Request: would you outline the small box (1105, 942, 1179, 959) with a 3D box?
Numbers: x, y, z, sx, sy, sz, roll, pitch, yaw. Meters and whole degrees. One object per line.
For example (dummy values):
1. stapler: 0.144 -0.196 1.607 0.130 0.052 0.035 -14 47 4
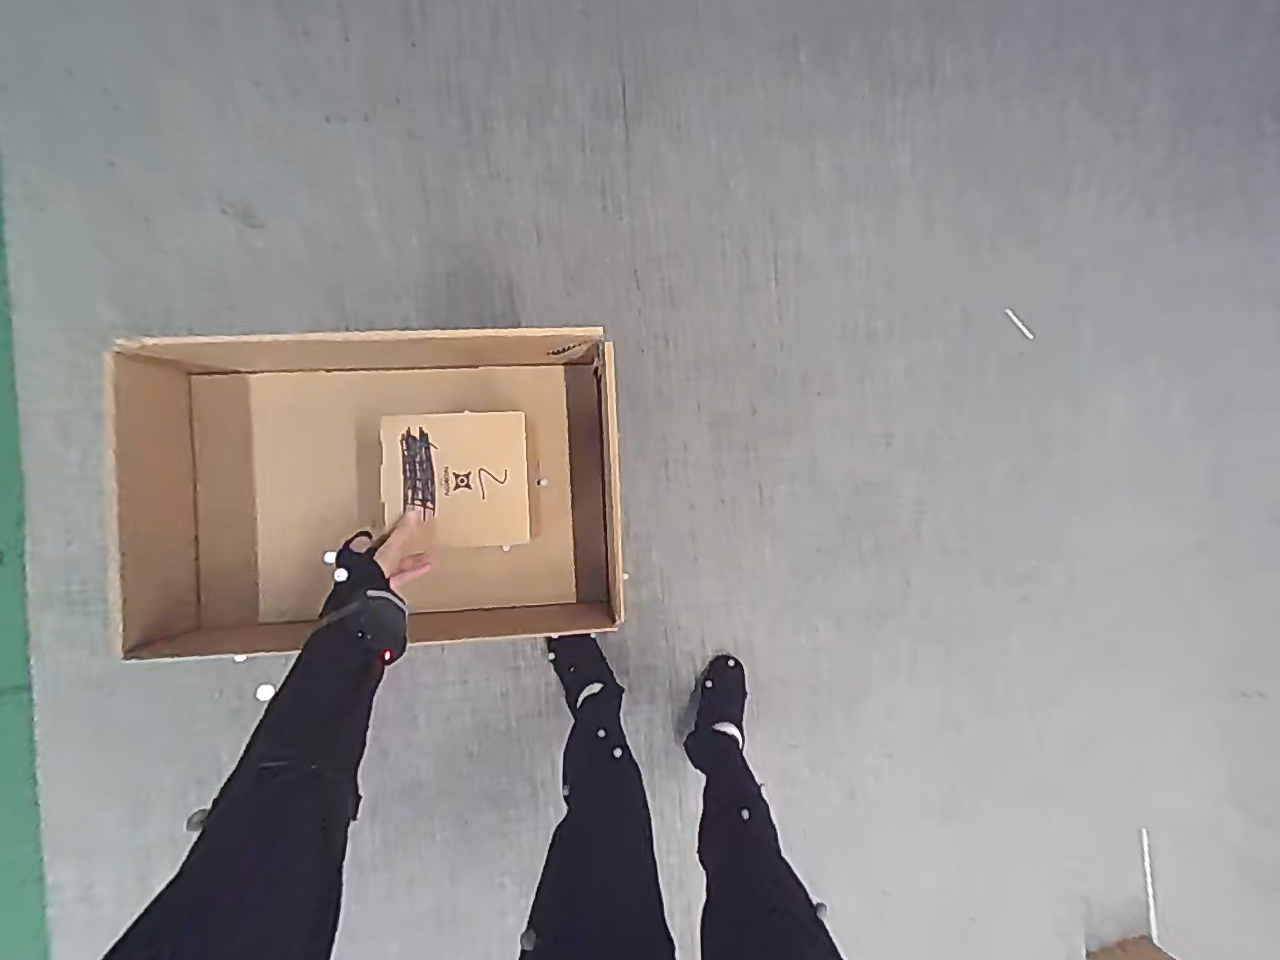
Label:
1. small box: 1.228 1.242 1.261 0.179 0.176 0.168 -12 89 -6
